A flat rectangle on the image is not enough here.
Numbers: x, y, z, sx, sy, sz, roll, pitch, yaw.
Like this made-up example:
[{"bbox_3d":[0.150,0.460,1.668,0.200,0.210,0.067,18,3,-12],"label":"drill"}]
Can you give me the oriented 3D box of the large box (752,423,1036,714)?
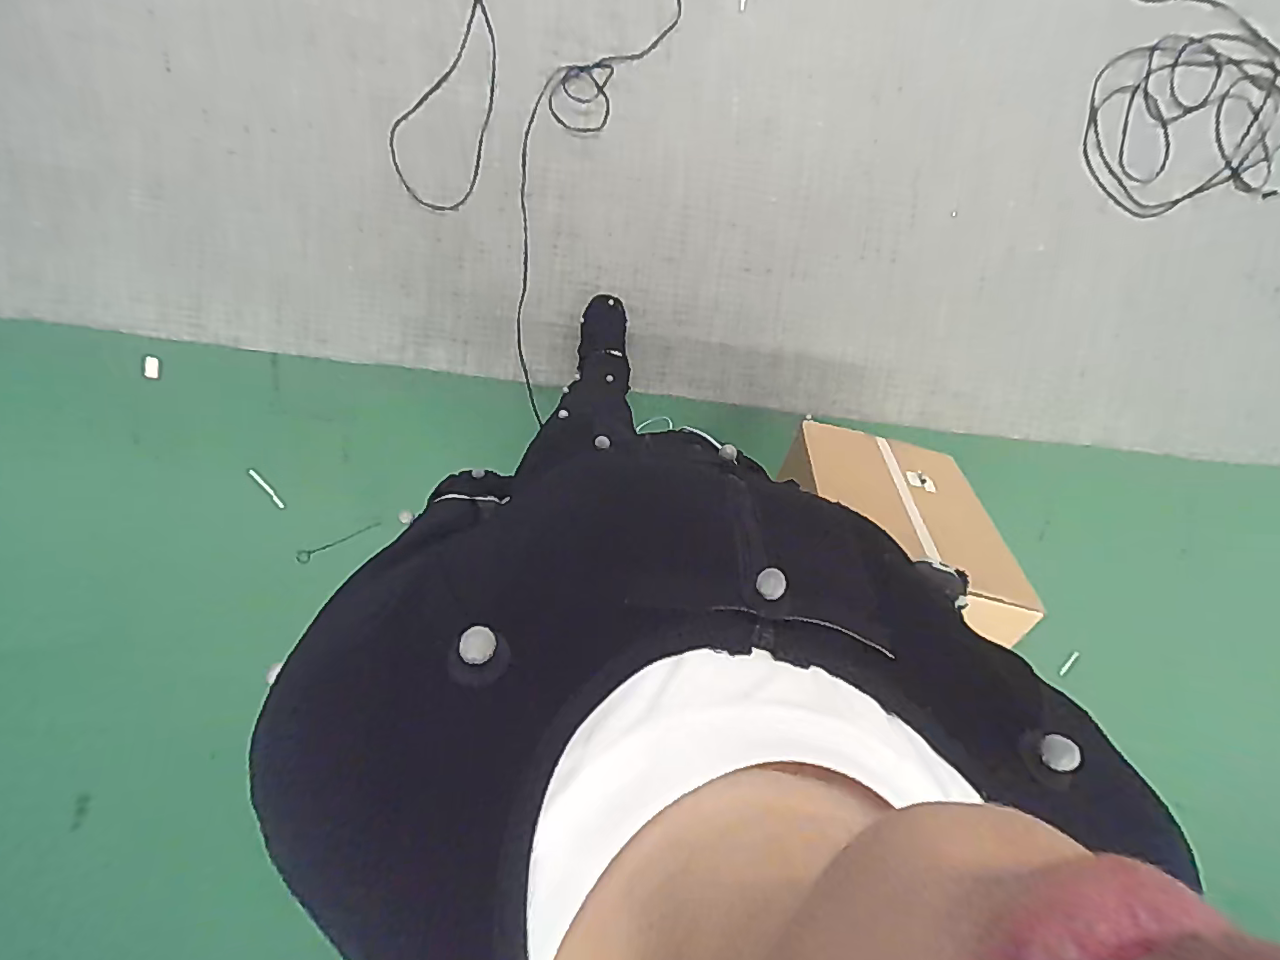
[{"bbox_3d":[0.411,0.151,1.009,0.320,0.408,0.320,15,126,-2],"label":"large box"}]
